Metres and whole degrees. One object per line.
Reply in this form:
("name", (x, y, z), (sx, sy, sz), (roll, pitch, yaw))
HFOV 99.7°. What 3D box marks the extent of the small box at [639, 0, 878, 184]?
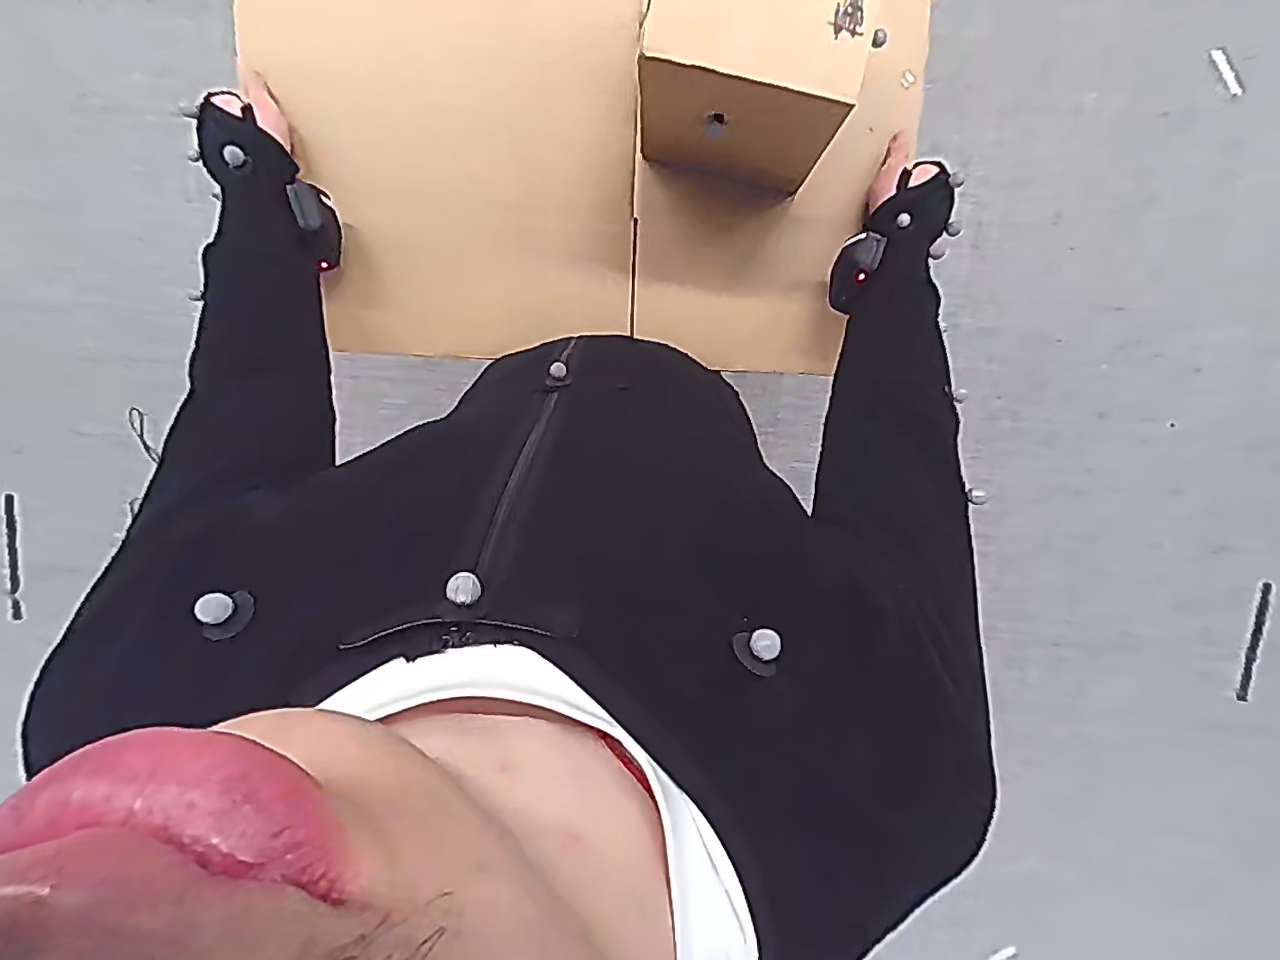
("small box", (0.103, -0.401, 0.497), (0.179, 0.176, 0.168), (13, 98, 0))
